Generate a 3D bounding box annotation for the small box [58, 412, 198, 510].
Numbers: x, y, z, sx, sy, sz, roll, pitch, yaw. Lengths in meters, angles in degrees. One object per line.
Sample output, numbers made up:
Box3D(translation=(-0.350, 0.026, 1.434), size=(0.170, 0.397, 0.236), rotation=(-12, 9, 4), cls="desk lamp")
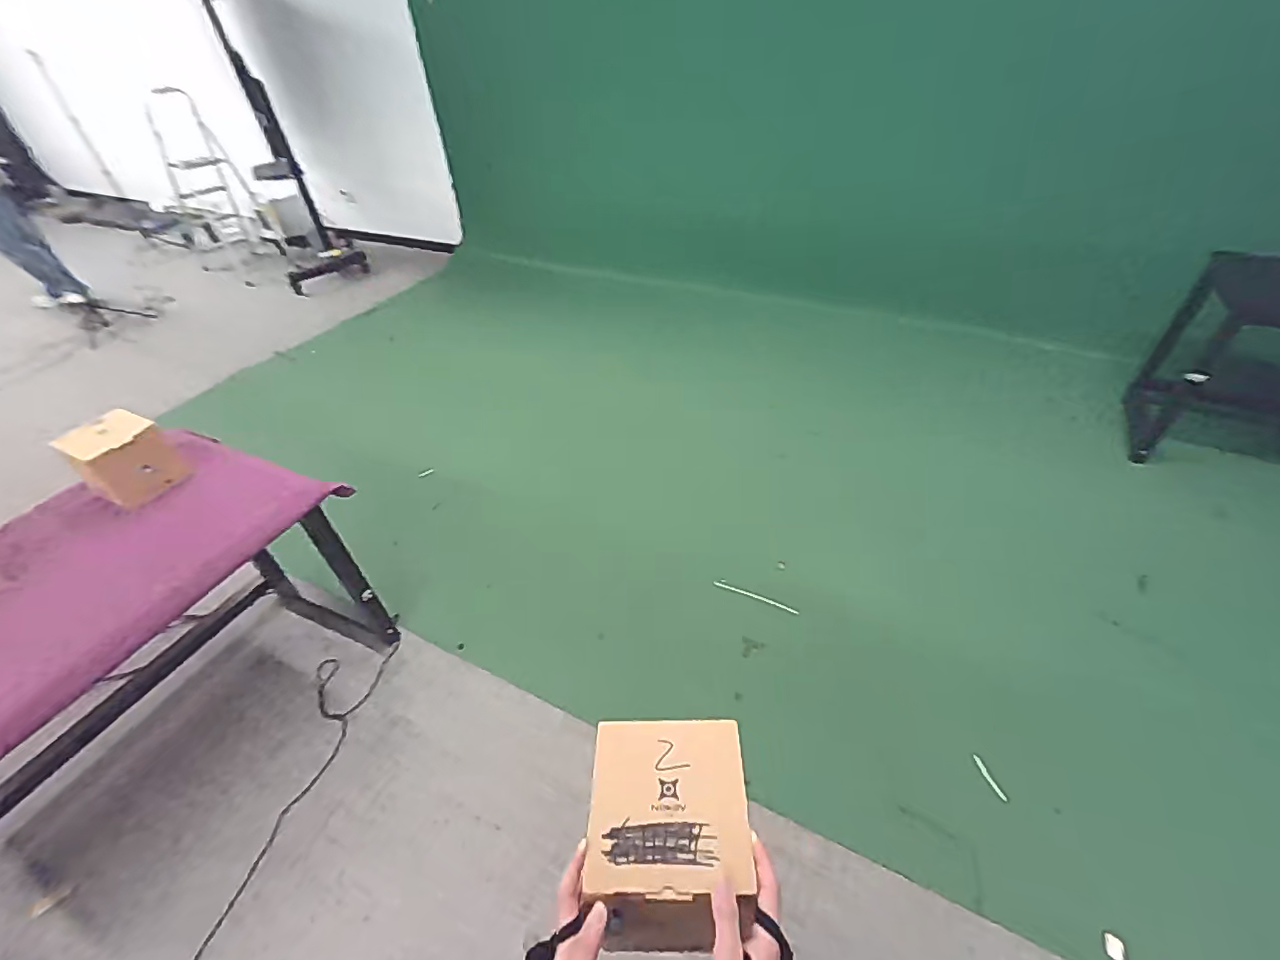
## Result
Box3D(translation=(-1.312, -0.047, 1.399), size=(0.179, 0.176, 0.168), rotation=(17, 46, 21), cls="small box")
